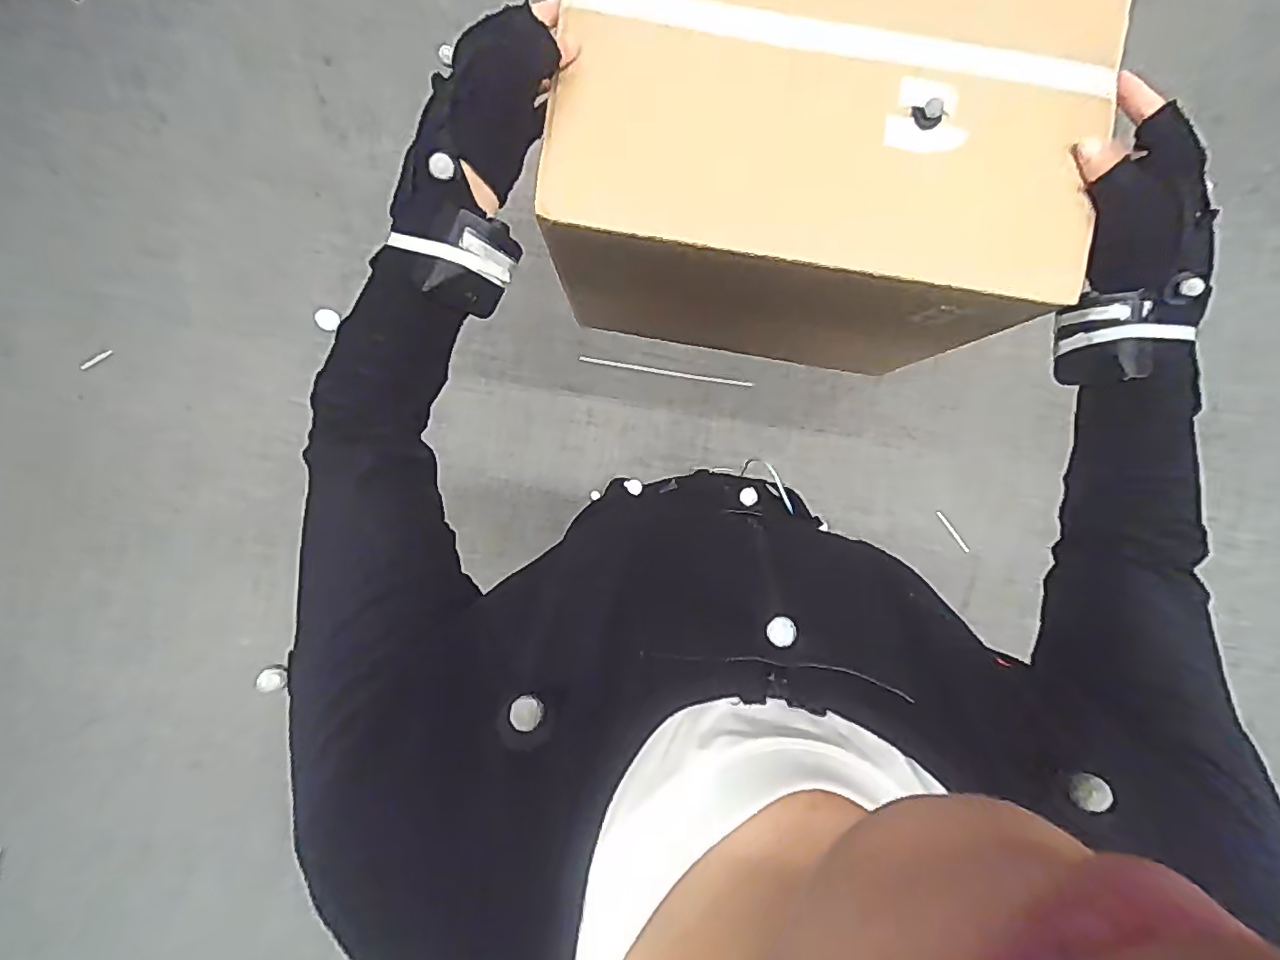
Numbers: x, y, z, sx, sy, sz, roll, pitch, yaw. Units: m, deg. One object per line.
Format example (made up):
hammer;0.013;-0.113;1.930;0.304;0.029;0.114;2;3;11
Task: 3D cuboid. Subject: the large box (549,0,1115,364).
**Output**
large box;0.143;-0.322;0.551;0.408;0.320;0.320;9;92;-1
